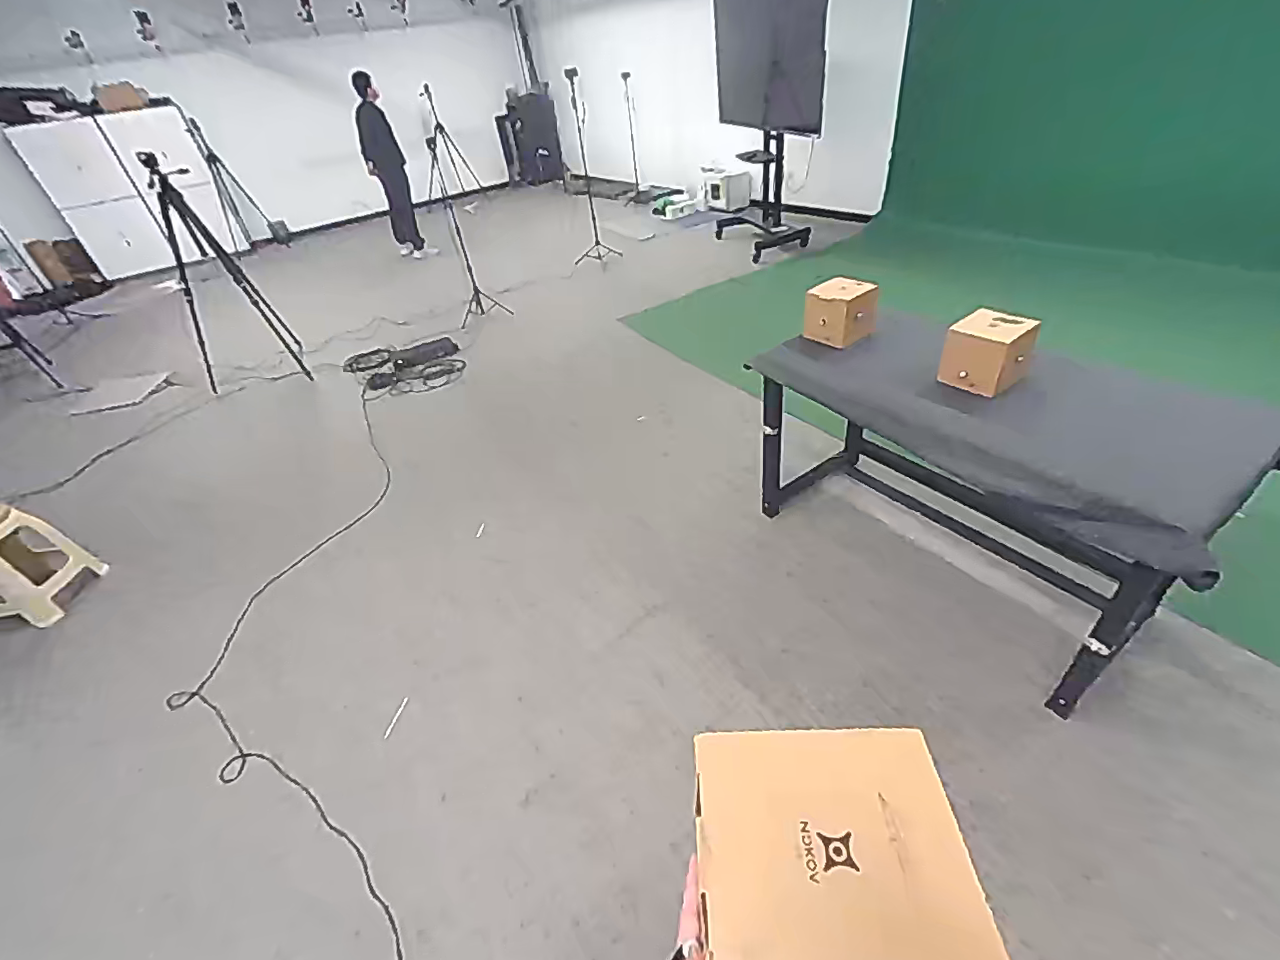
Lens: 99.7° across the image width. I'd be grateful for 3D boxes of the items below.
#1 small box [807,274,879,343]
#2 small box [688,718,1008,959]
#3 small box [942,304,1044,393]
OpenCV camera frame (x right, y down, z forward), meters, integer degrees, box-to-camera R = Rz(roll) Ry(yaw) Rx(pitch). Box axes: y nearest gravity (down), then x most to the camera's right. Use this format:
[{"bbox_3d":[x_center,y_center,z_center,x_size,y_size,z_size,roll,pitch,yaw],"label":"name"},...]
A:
[{"bbox_3d":[0.701,-0.595,1.877,0.179,0.176,0.168,-31,43,-25],"label":"small box"},{"bbox_3d":[0.131,0.301,0.408,0.179,0.176,0.168,-3,39,3],"label":"small box"},{"bbox_3d":[0.993,-0.374,1.537,0.179,0.176,0.168,-30,42,-23],"label":"small box"}]
